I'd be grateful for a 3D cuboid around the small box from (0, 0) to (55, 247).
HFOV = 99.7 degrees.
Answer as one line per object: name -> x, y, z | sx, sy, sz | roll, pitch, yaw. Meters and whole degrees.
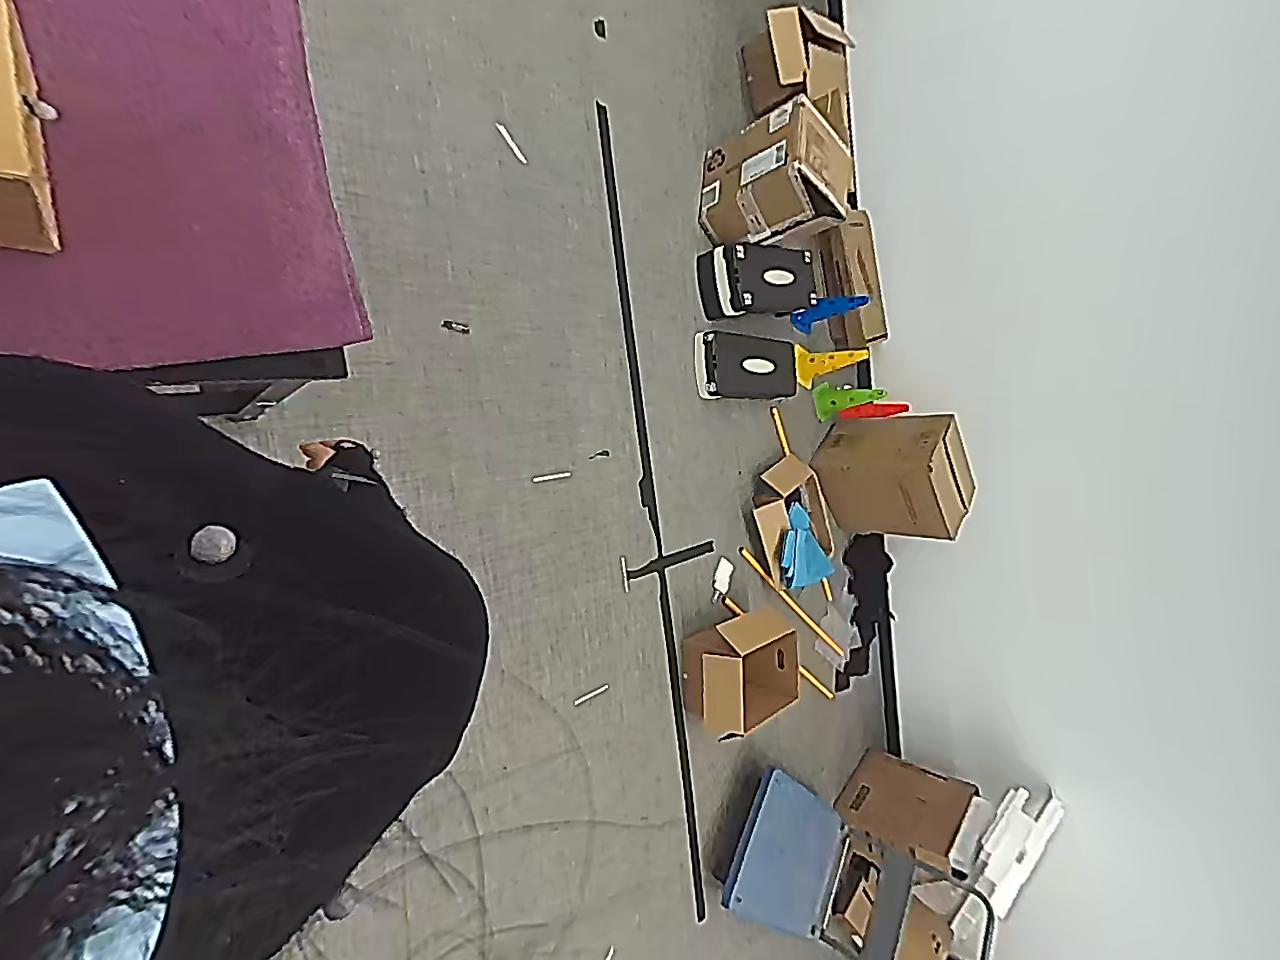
small box -> -0.606, -0.316, 0.434 | 0.168, 0.176, 0.179 | -8, 94, -43
